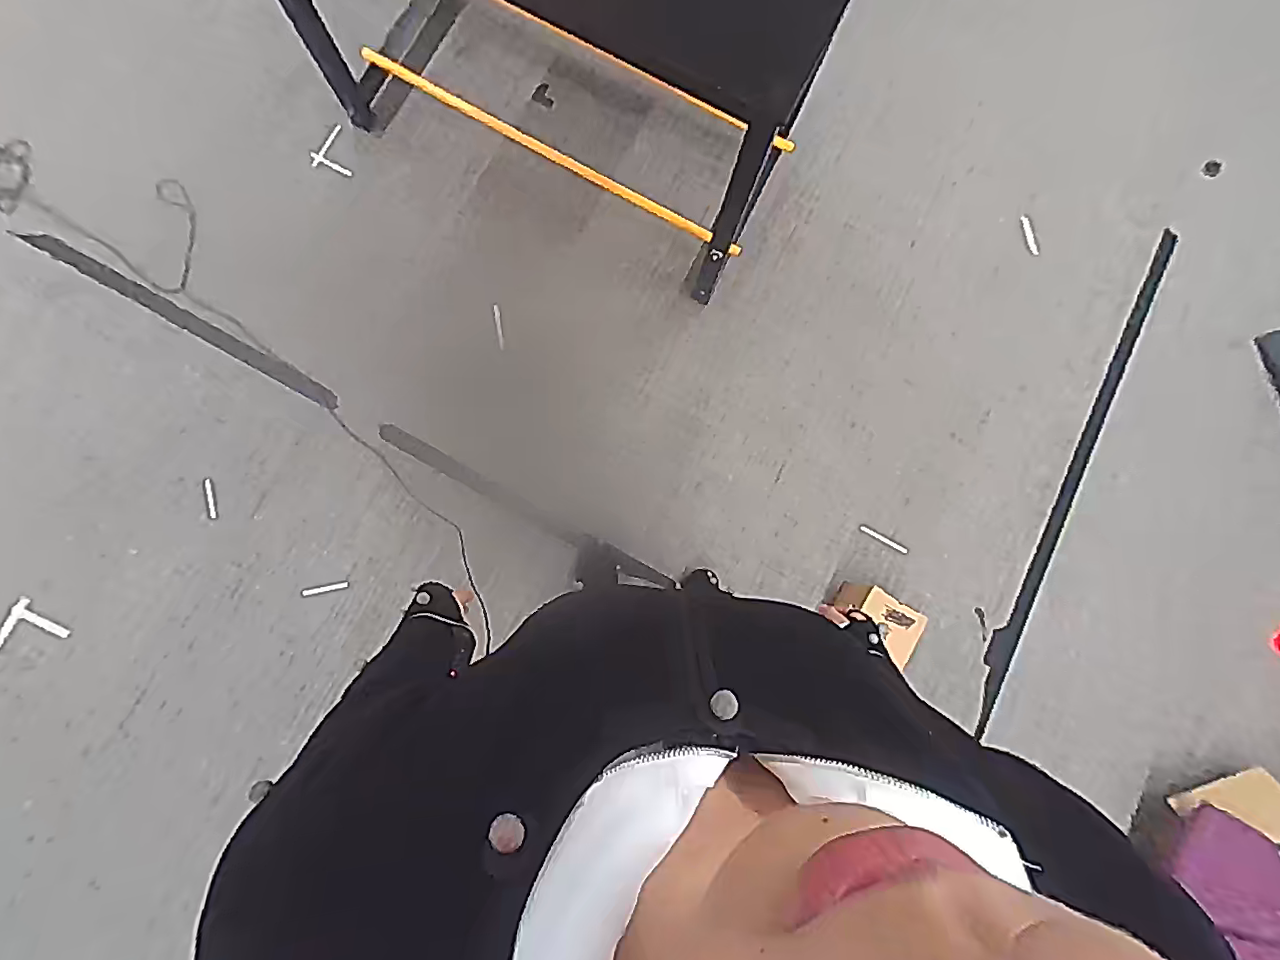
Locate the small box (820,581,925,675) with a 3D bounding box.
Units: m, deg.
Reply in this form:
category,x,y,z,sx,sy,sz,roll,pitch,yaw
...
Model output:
category,x,y,z,sx,sy,sz,roll,pitch,yaw
small box,0.613,0.385,1.448,0.168,0.176,0.179,32,83,1
